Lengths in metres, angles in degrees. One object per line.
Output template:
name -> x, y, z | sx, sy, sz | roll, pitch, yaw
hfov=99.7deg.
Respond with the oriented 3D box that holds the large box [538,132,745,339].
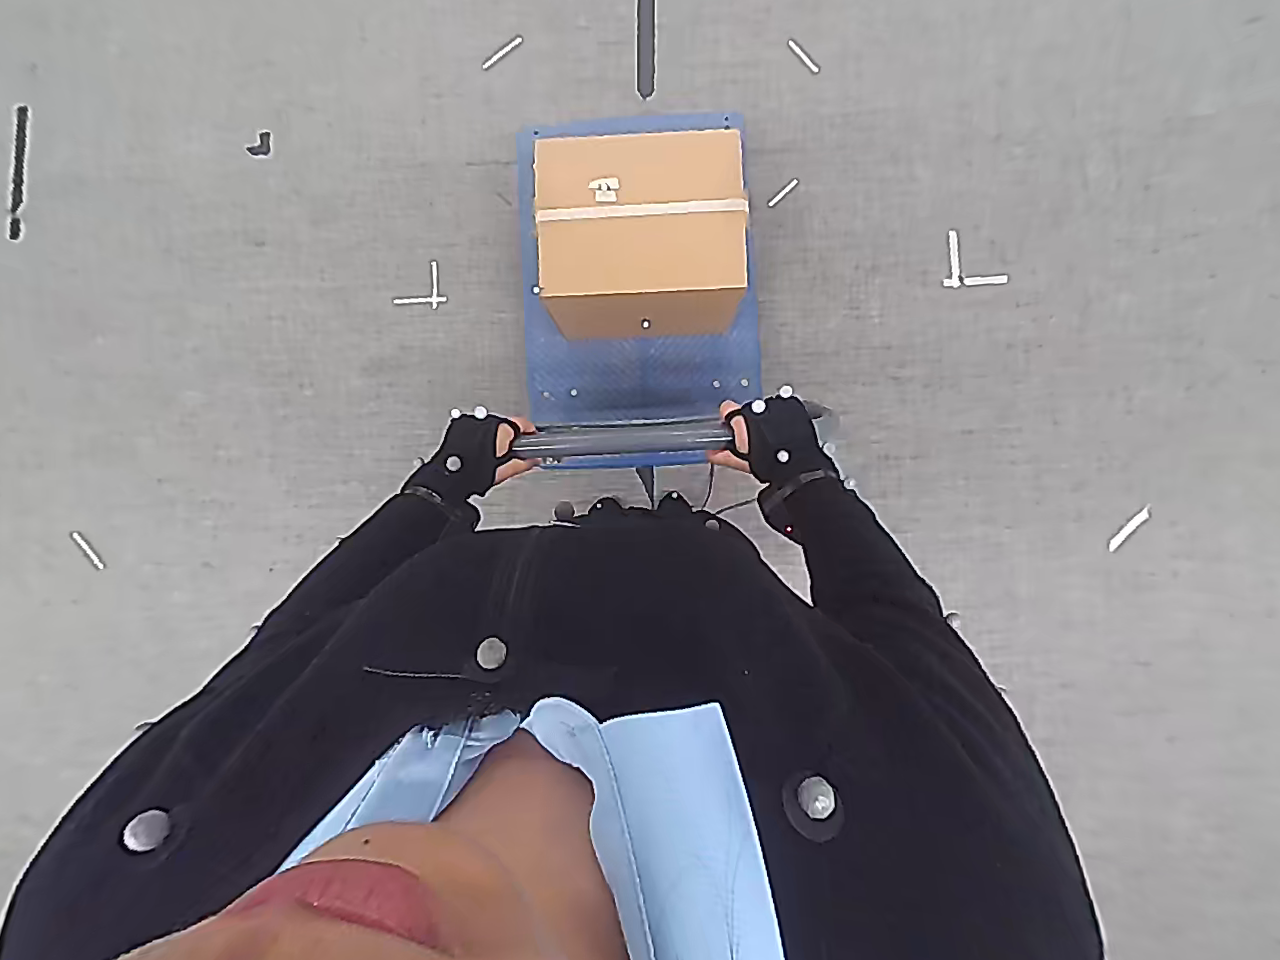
large box -> 0.009, -0.519, 1.217 | 0.408, 0.320, 0.320 | -3, 88, 3
